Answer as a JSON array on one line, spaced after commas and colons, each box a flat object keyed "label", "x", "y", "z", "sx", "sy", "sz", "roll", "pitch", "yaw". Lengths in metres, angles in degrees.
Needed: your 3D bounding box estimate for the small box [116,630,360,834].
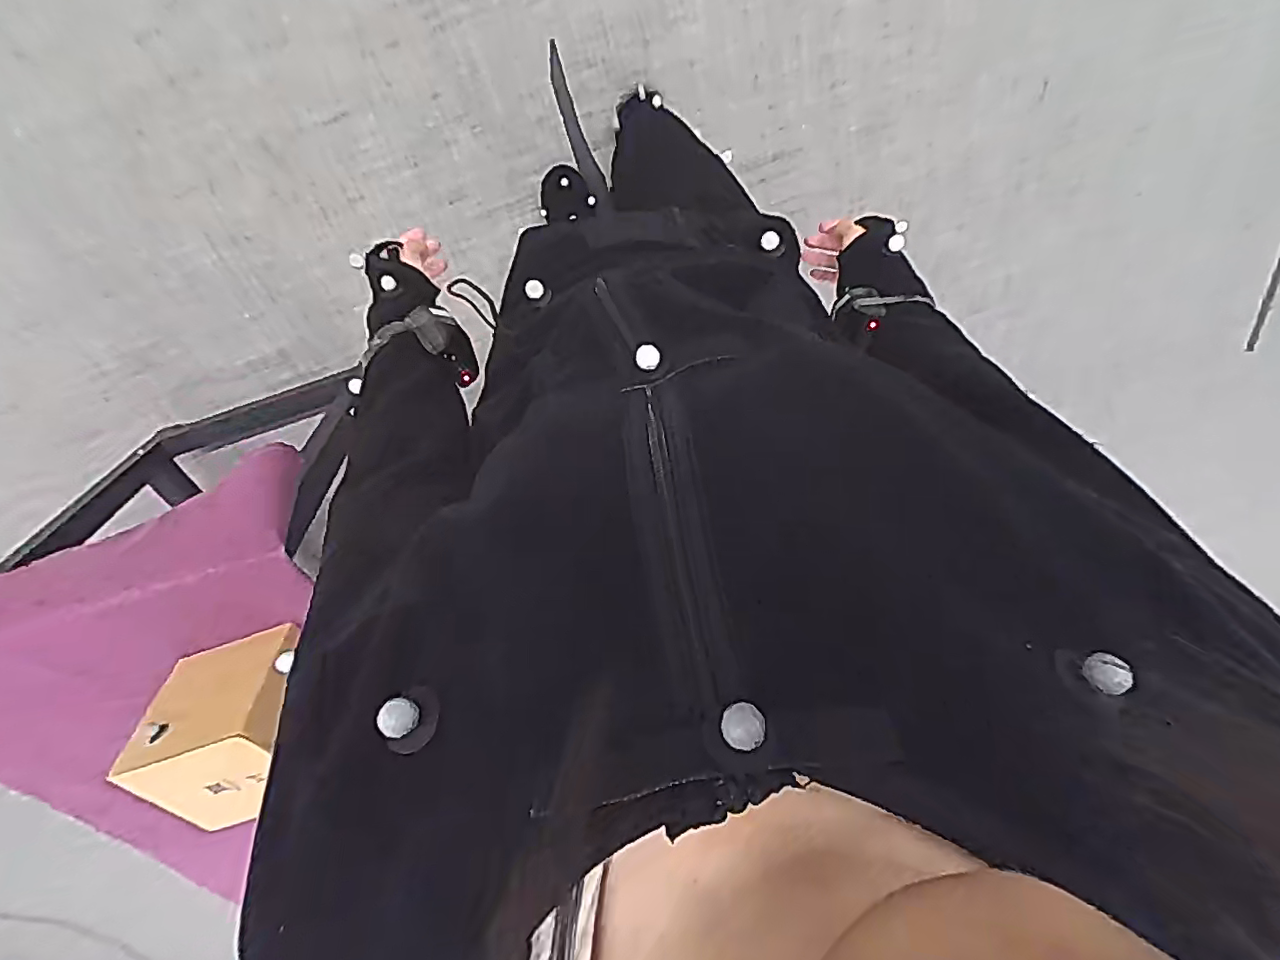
[{"label": "small box", "x": -0.519, "y": 0.337, "z": 0.734, "sx": 0.179, "sy": 0.176, "sz": 0.168, "roll": -19, "pitch": 127, "yaw": 2}]
